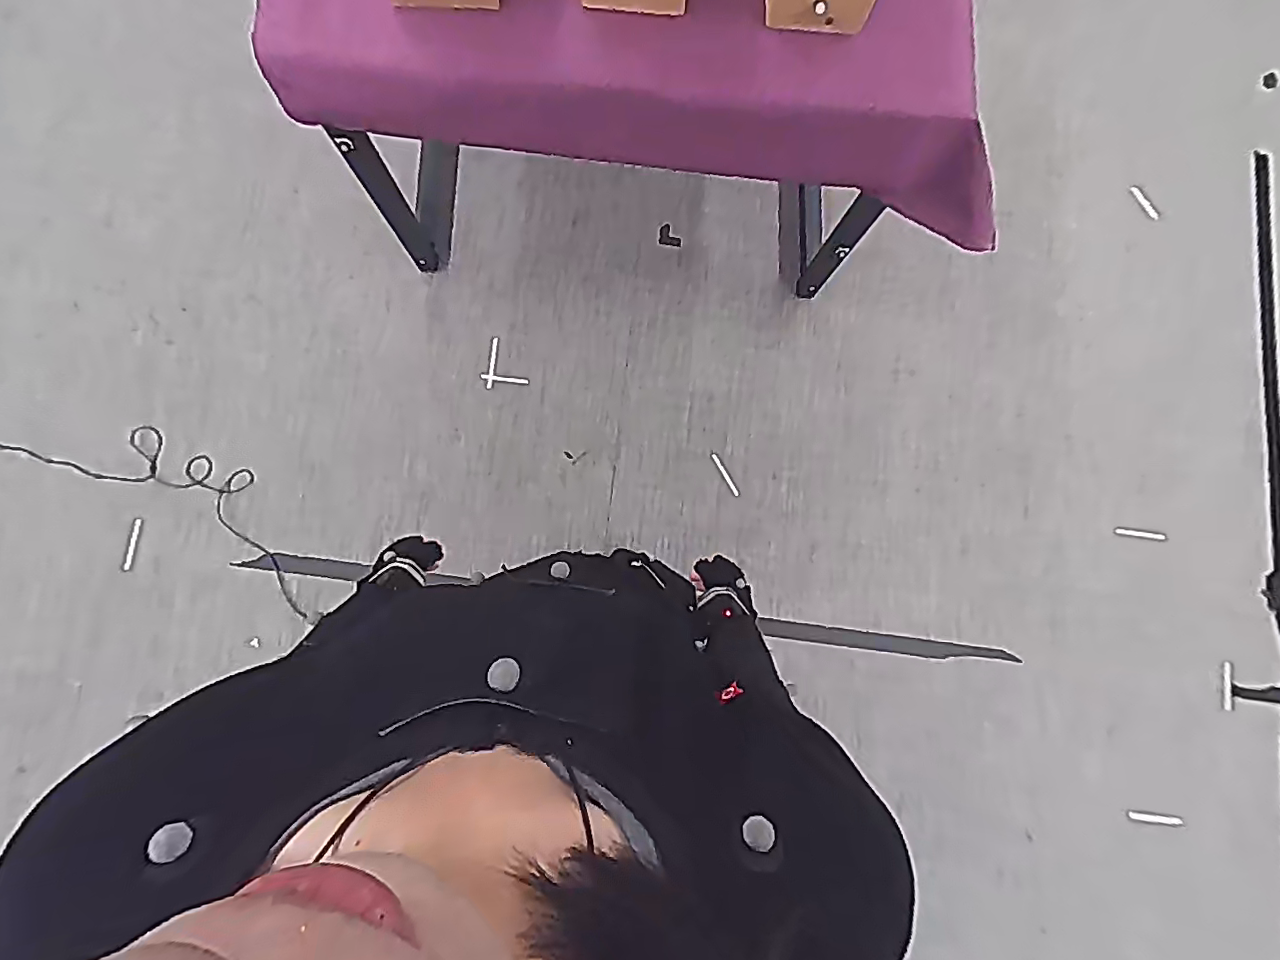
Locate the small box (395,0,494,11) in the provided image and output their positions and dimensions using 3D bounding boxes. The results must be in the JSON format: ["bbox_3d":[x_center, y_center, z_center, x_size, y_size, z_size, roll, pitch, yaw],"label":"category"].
[{"bbox_3d":[-0.317,-0.874,0.836,0.179,0.176,0.168,-2,81,-3],"label":"small box"}]

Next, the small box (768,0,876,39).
[{"bbox_3d":[0.309,-0.870,0.871,0.168,0.176,0.179,2,83,-3],"label":"small box"}]

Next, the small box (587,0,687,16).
[{"bbox_3d":[-0.001,-0.886,0.856,0.179,0.176,0.168,2,82,-2],"label":"small box"}]
